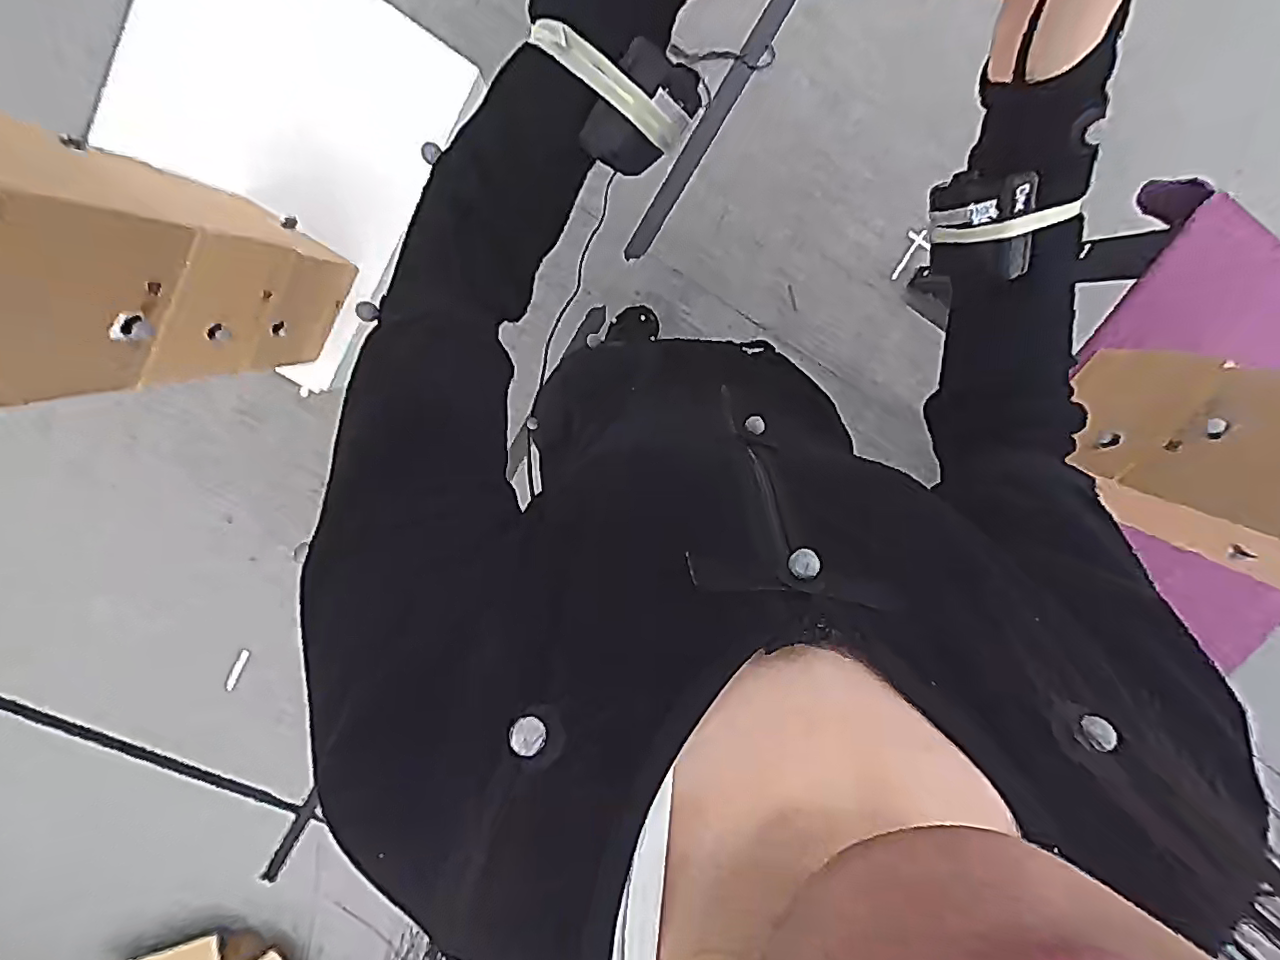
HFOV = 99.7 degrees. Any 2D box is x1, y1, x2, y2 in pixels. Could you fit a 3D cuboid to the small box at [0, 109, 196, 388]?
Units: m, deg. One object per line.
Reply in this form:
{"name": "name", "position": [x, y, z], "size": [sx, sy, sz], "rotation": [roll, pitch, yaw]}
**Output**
{"name": "small box", "position": [-0.489, -0.175, 0.391], "size": [0.179, 0.176, 0.168], "rotation": [29, 103, -12]}

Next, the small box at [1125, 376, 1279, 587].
{"name": "small box", "position": [0.675, 0.009, 0.551], "size": [0.179, 0.176, 0.168], "rotation": [33, 102, -12]}

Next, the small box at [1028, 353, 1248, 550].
{"name": "small box", "position": [0.658, -0.046, 0.705], "size": [0.168, 0.176, 0.179], "rotation": [34, 102, -13]}

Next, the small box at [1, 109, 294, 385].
{"name": "small box", "position": [-0.499, -0.220, 0.547], "size": [0.179, 0.176, 0.168], "rotation": [30, 102, -11]}

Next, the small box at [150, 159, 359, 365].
{"name": "small box", "position": [-0.512, -0.267, 0.703], "size": [0.179, 0.176, 0.168], "rotation": [31, 102, -11]}
